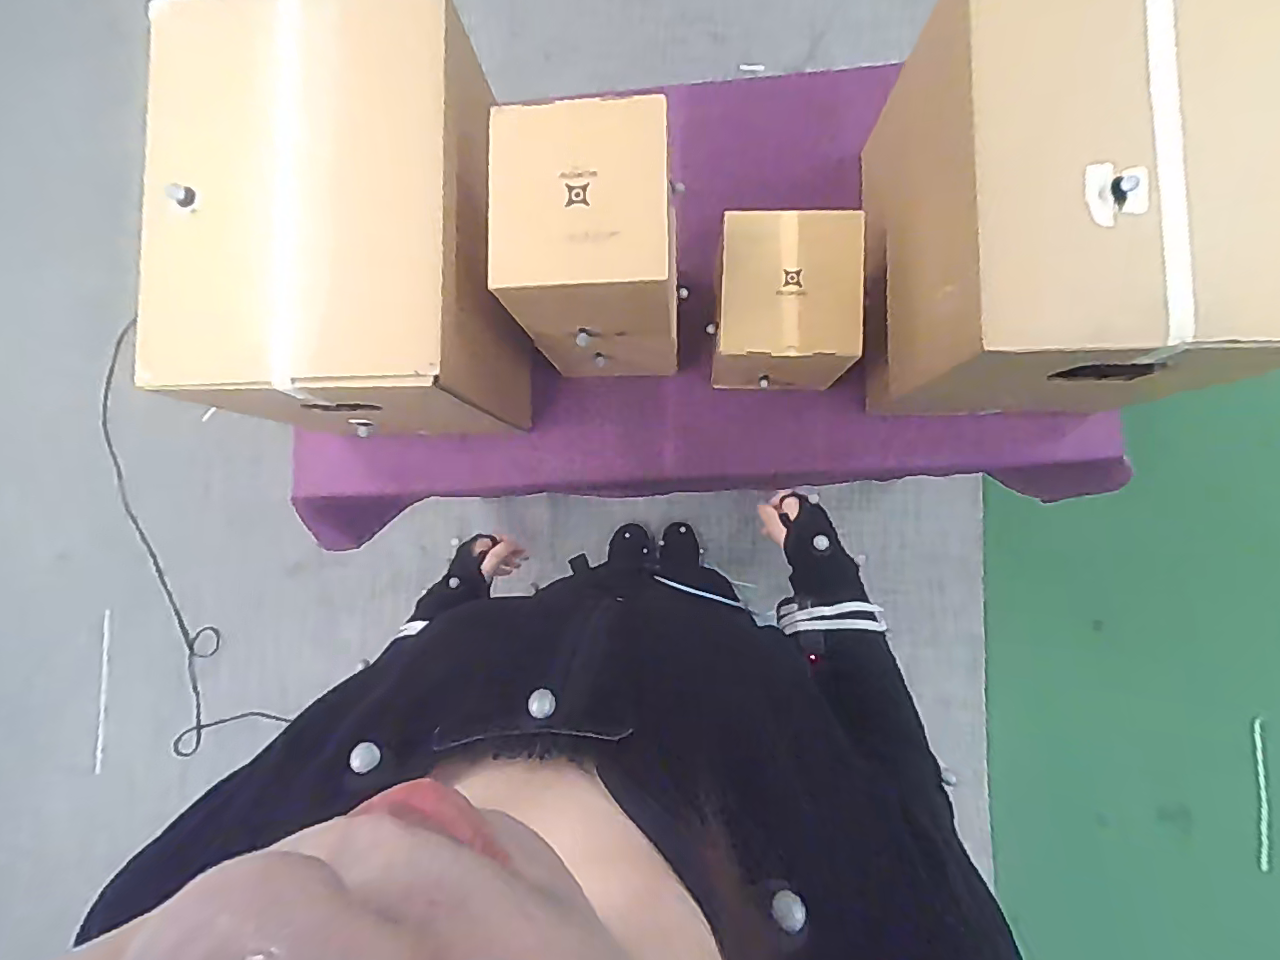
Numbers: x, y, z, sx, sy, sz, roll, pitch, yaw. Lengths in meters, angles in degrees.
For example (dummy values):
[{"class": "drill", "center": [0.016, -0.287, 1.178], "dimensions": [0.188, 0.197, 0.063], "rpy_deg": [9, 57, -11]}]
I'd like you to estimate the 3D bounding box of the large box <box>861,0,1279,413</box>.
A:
[{"class": "large box", "center": [0.472, -0.303, 0.639], "dimensions": [0.320, 0.320, 0.408], "rpy_deg": [1, 87, 4]}]
